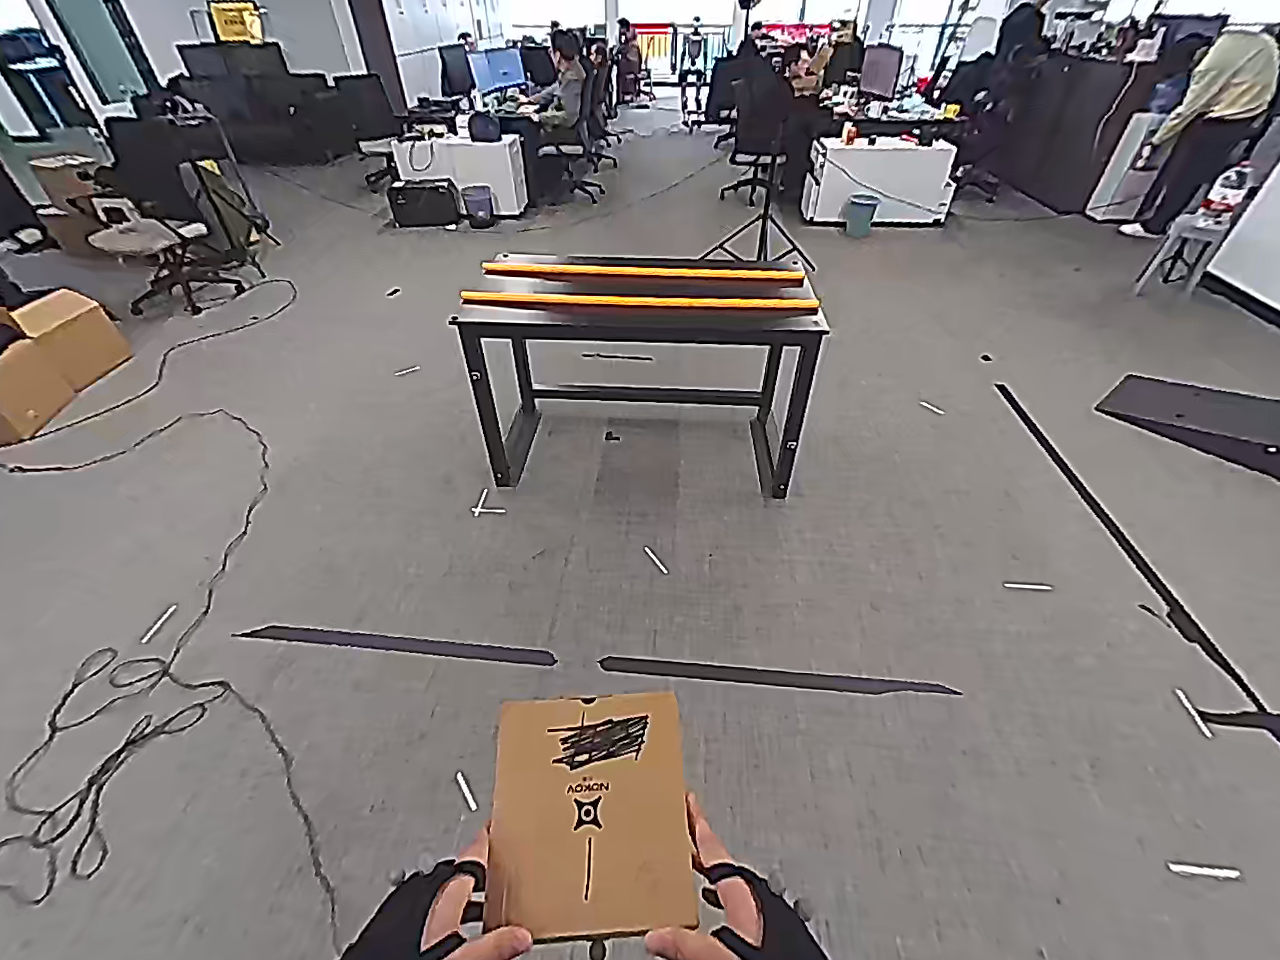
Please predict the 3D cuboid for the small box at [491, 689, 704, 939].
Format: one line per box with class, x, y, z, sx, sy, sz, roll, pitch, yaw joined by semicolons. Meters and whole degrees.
small box;-0.034;0.324;0.524;0.168;0.176;0.179;-5;49;0
